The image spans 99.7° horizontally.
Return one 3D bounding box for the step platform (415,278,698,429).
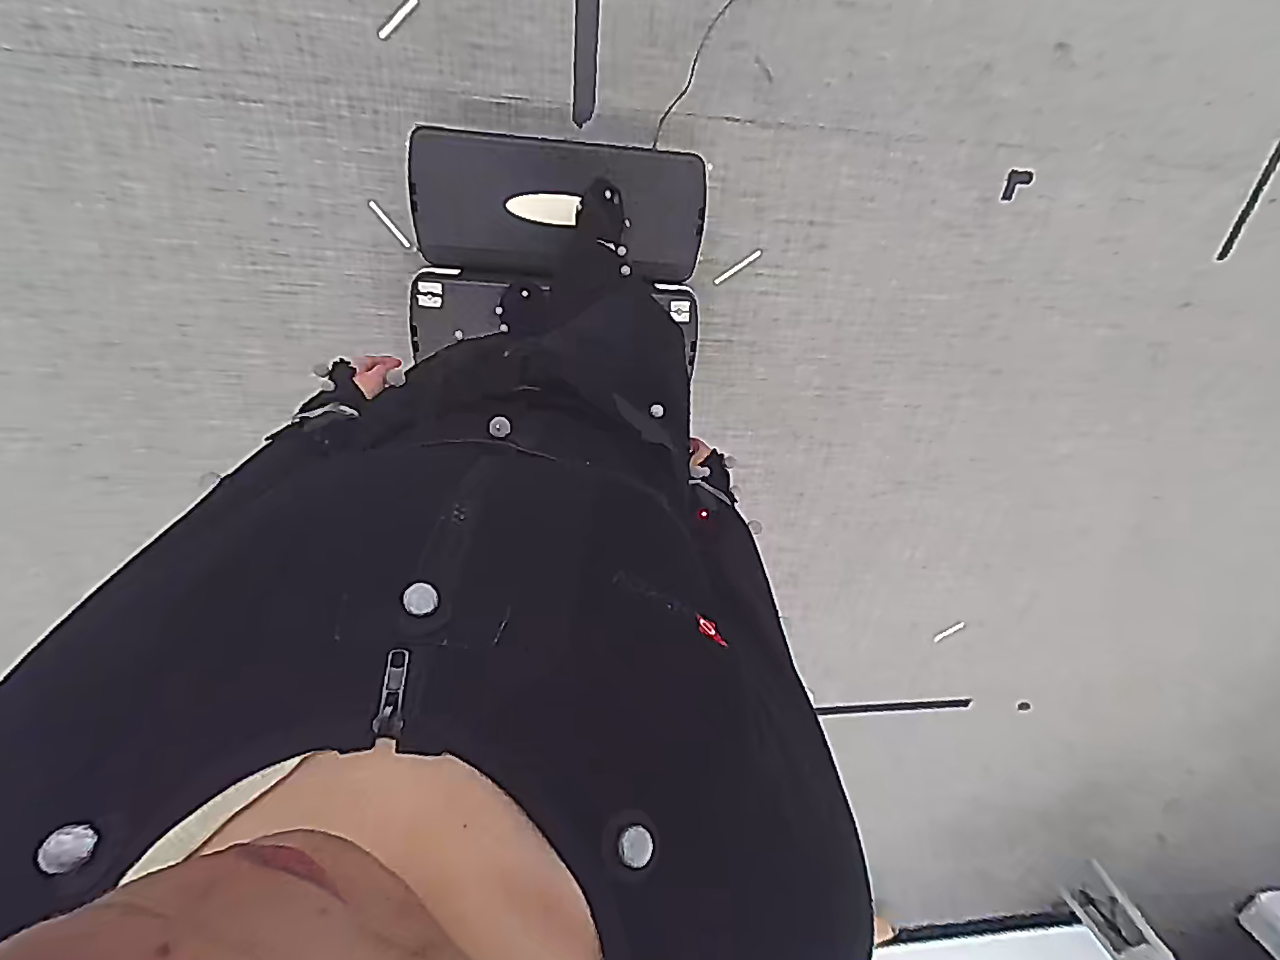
[{"bbox_3d":[-0.199,-0.312,1.362,0.684,0.204,0.286,6,114,-9],"label":"step platform"}]
